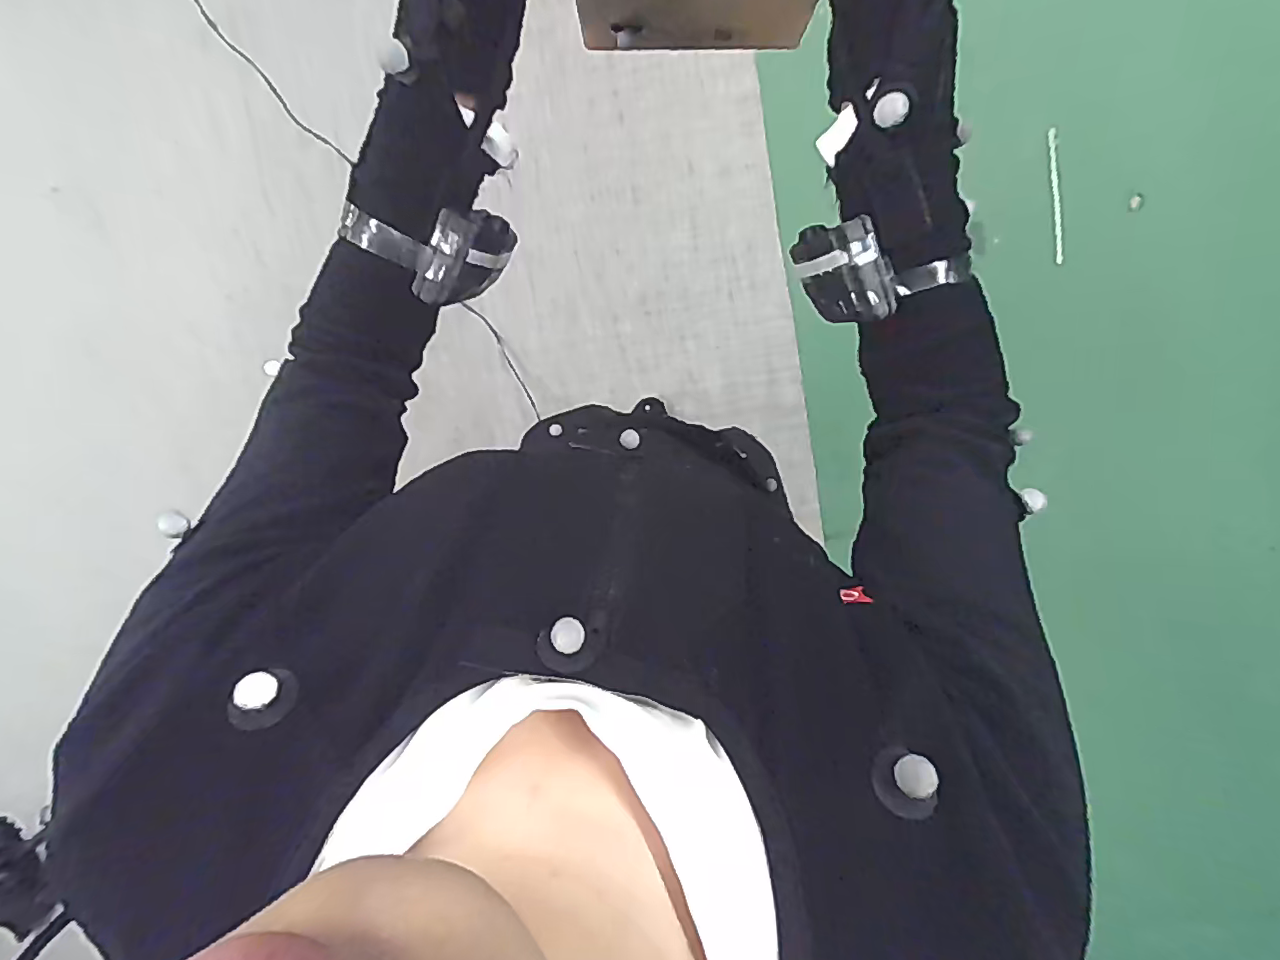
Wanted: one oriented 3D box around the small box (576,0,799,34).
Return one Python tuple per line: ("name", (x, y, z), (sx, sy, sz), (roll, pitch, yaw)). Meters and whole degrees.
("small box", (0.032, -0.404, 0.316), (0.168, 0.176, 0.179), (0, 99, 1))
